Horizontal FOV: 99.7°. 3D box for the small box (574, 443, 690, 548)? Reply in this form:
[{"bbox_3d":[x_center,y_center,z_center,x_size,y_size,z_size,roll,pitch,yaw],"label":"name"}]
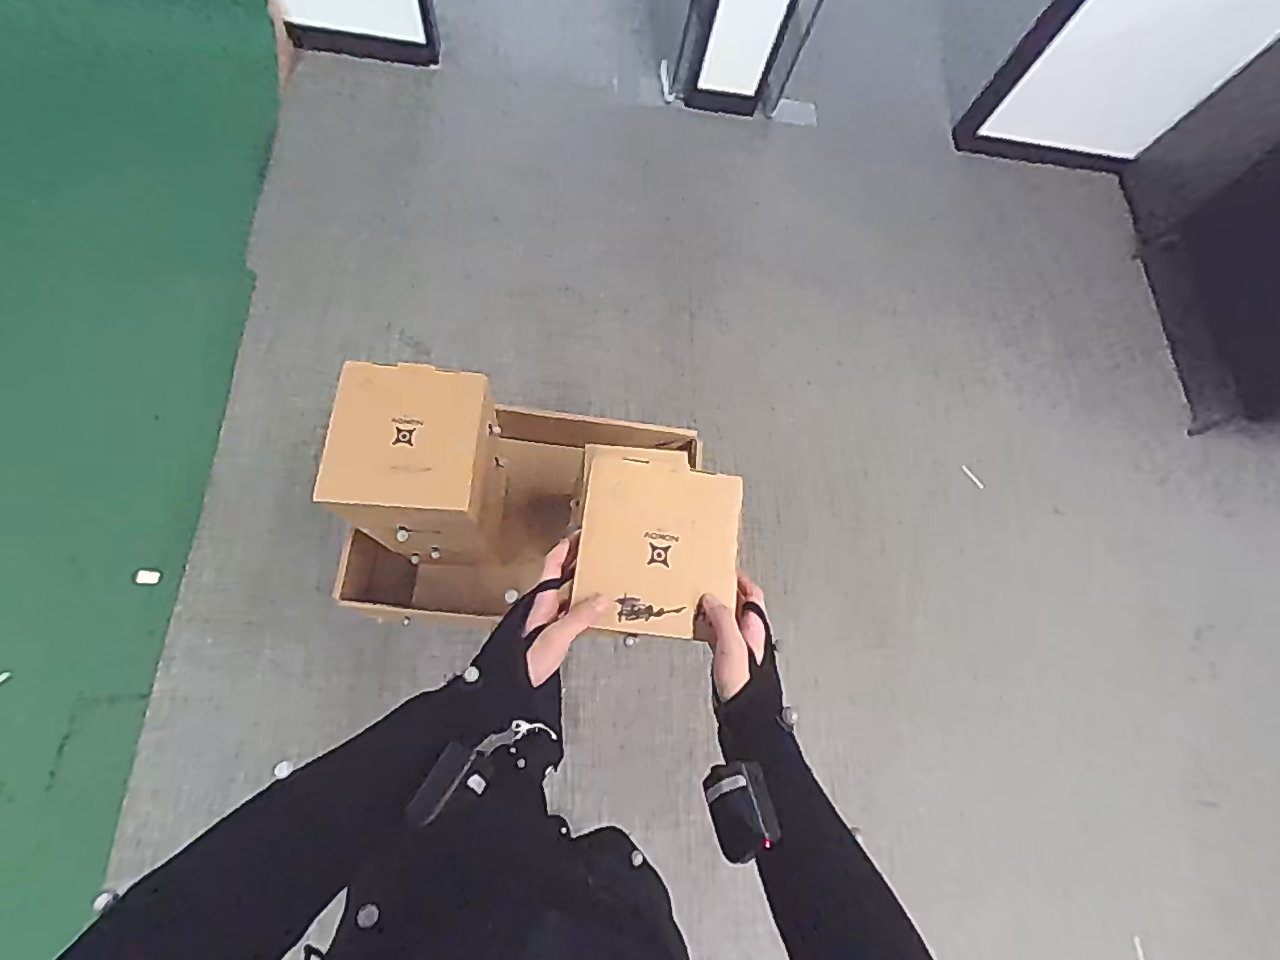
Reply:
[{"bbox_3d":[-0.019,0.055,0.891,0.168,0.176,0.179,5,72,-9],"label":"small box"}]

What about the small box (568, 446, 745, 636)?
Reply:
[{"bbox_3d":[0.011,0.079,0.623,0.168,0.176,0.179,9,74,-7],"label":"small box"}]

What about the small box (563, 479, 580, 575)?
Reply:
[{"bbox_3d":[-0.055,0.097,1.047,0.168,0.176,0.179,9,72,-8],"label":"small box"}]

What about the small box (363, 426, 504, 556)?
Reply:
[{"bbox_3d":[-0.309,0.014,0.849,0.168,0.176,0.179,5,72,-8],"label":"small box"}]

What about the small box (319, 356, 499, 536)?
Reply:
[{"bbox_3d":[-0.278,-0.034,0.697,0.168,0.176,0.179,4,73,-8],"label":"small box"}]
